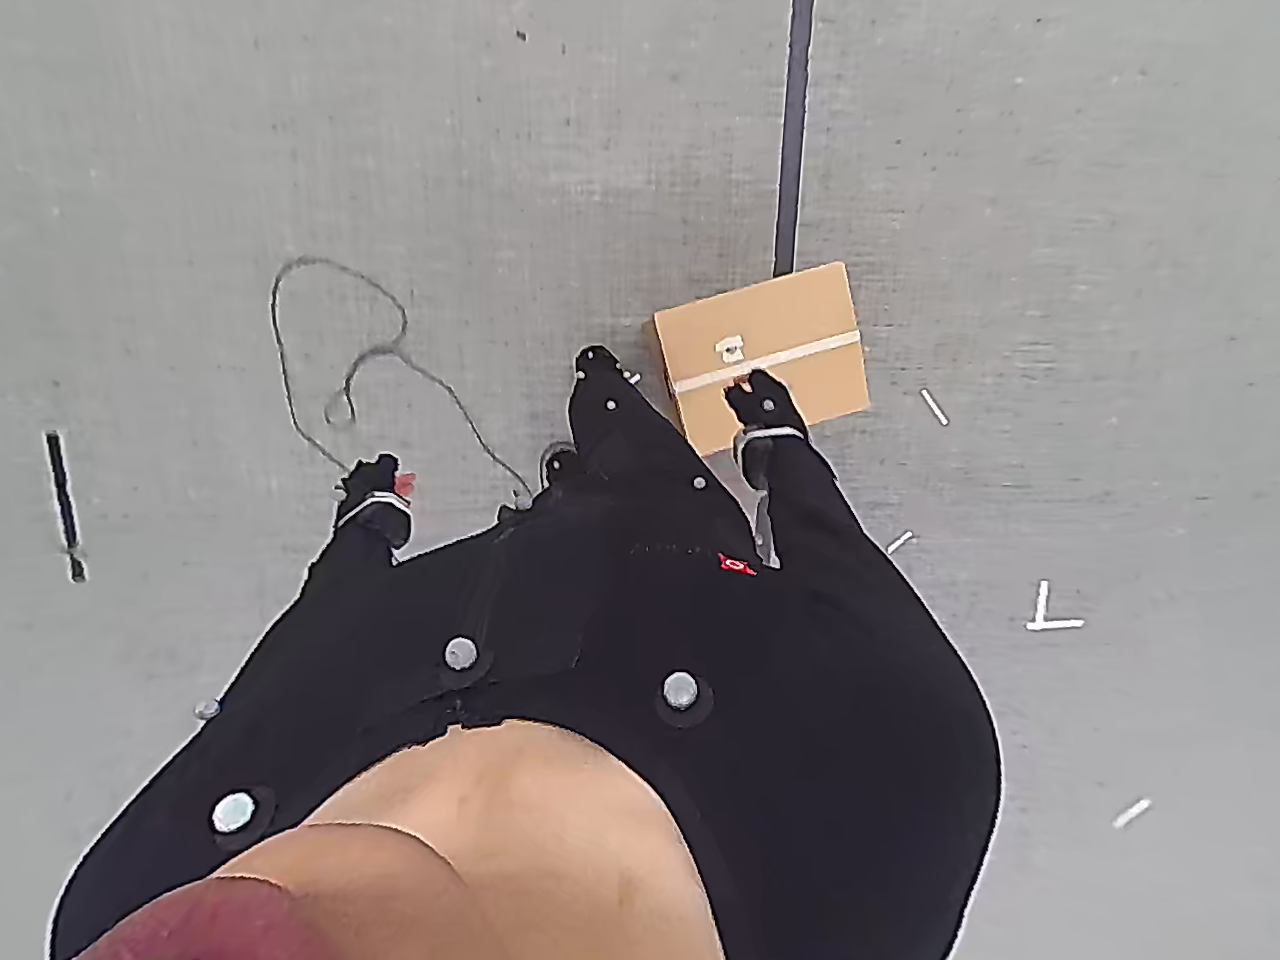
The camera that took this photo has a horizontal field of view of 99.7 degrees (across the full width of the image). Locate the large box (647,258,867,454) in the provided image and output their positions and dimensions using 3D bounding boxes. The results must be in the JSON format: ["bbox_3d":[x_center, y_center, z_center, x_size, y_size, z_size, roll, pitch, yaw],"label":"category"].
[{"bbox_3d":[0.255,-0.290,1.281,0.408,0.320,0.320,-16,103,1],"label":"large box"}]
